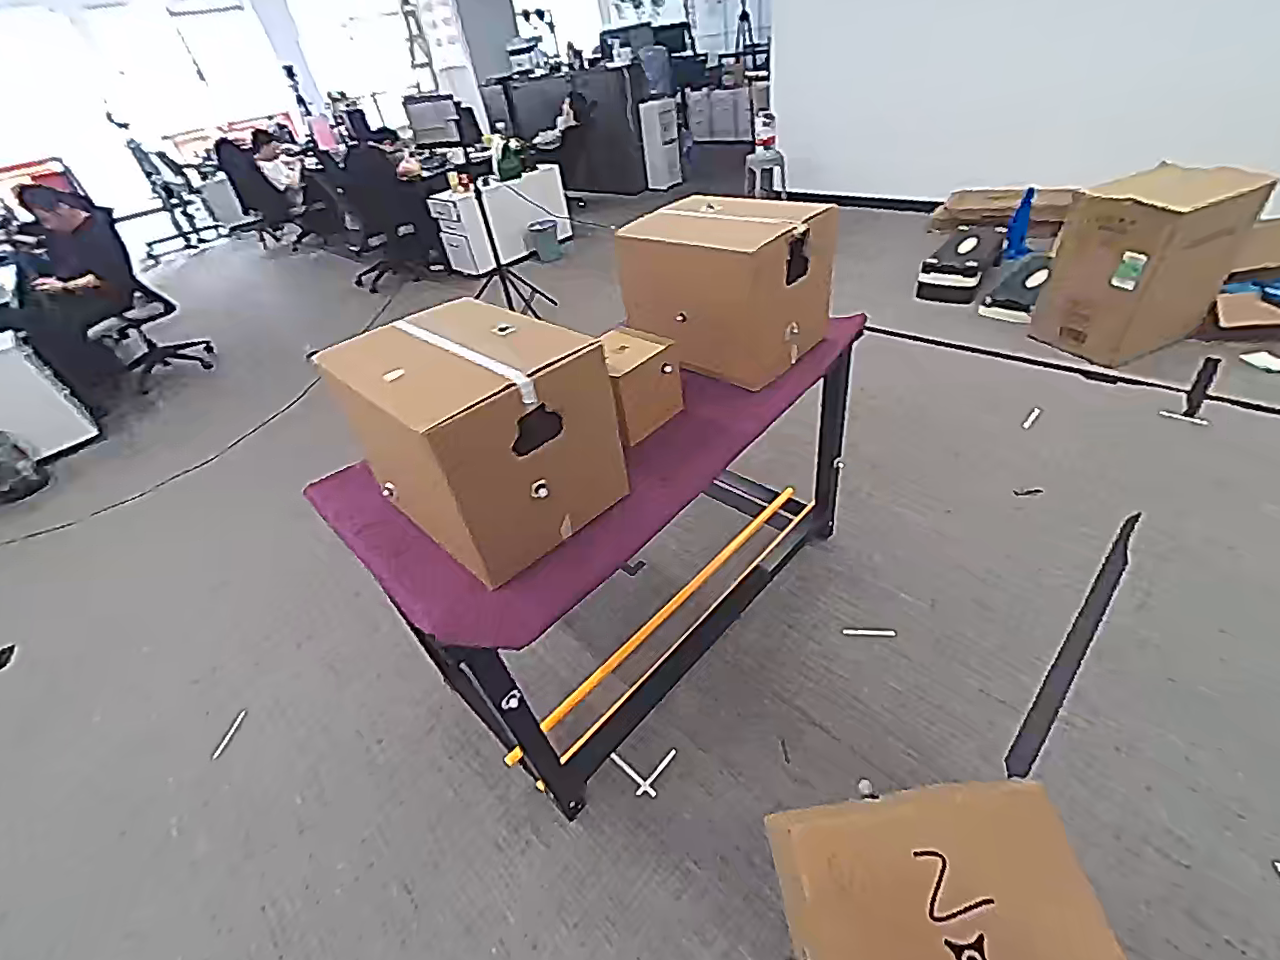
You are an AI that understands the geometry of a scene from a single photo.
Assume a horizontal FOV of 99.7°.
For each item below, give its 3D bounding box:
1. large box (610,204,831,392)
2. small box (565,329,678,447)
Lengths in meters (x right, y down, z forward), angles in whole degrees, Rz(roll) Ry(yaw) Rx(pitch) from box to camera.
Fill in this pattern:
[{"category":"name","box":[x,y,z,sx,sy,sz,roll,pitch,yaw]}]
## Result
[{"category":"large box","box":[0.199,-0.452,1.306,0.408,0.320,0.320,26,51,38]},{"category":"small box","box":[-0.031,-0.199,1.163,0.168,0.176,0.179,26,52,37]}]
